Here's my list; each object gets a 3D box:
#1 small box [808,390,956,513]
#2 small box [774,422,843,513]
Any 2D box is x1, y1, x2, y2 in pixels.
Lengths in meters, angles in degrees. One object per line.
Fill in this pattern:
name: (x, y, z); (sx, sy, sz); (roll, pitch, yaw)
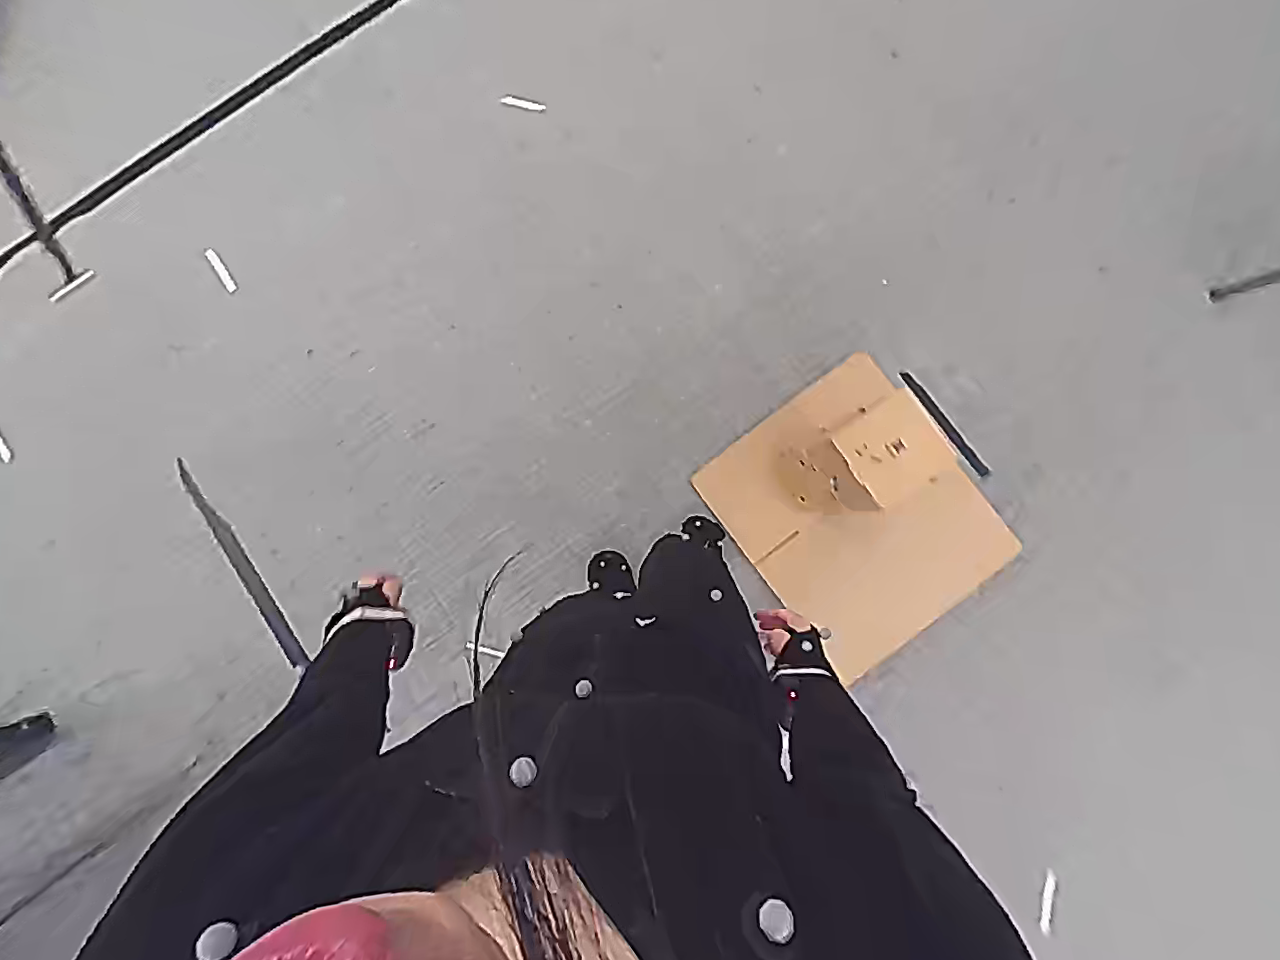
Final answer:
small box: (0.465, -0.050, 1.070); (0.179, 0.176, 0.168); (-34, 86, -1)
small box: (0.467, -0.025, 1.399); (0.179, 0.176, 0.168); (-32, 87, -2)
